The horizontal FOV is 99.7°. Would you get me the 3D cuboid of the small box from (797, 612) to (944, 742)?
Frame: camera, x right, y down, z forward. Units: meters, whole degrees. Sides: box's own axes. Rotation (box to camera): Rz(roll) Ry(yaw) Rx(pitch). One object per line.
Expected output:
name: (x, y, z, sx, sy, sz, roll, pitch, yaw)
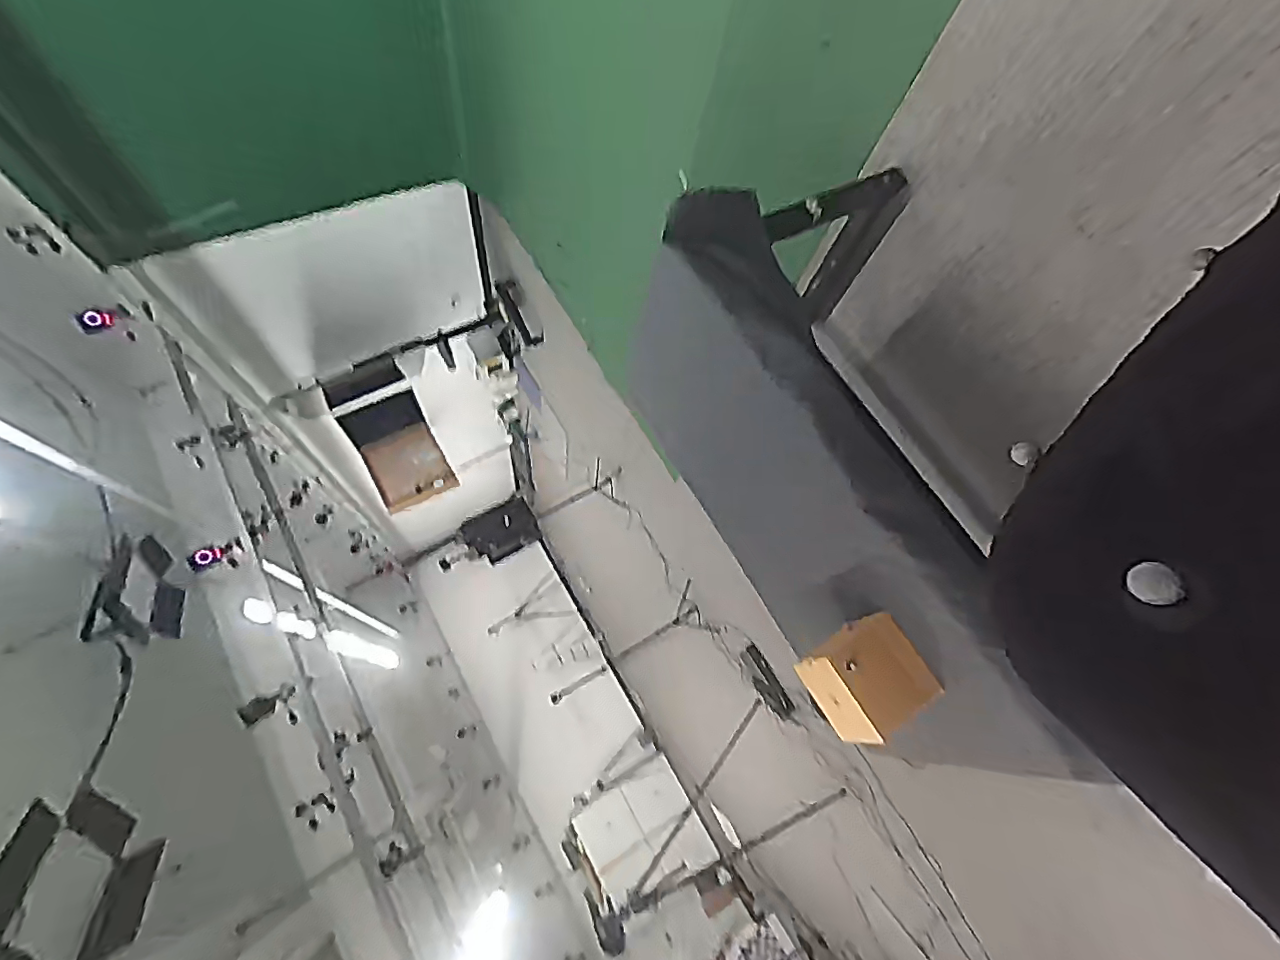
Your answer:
small box: (0.456, 0.393, 1.080, 0.179, 0.176, 0.168, 57, 161, 17)
